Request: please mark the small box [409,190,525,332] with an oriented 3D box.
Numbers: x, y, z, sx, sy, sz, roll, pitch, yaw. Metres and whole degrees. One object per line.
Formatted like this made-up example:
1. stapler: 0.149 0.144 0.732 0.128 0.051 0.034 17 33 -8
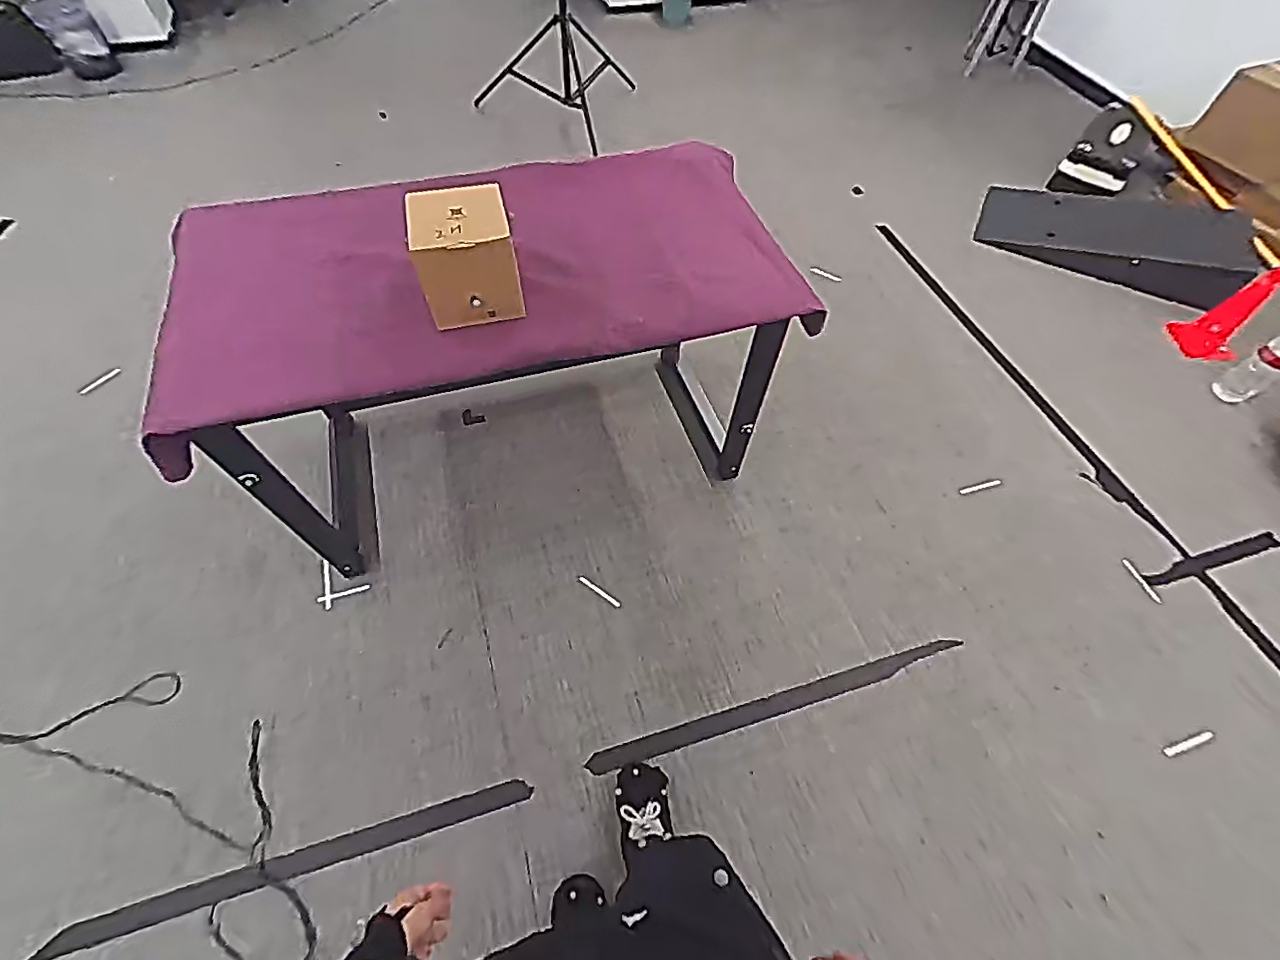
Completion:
1. small box: -0.316 -0.402 0.999 0.168 0.176 0.179 -12 59 -9
